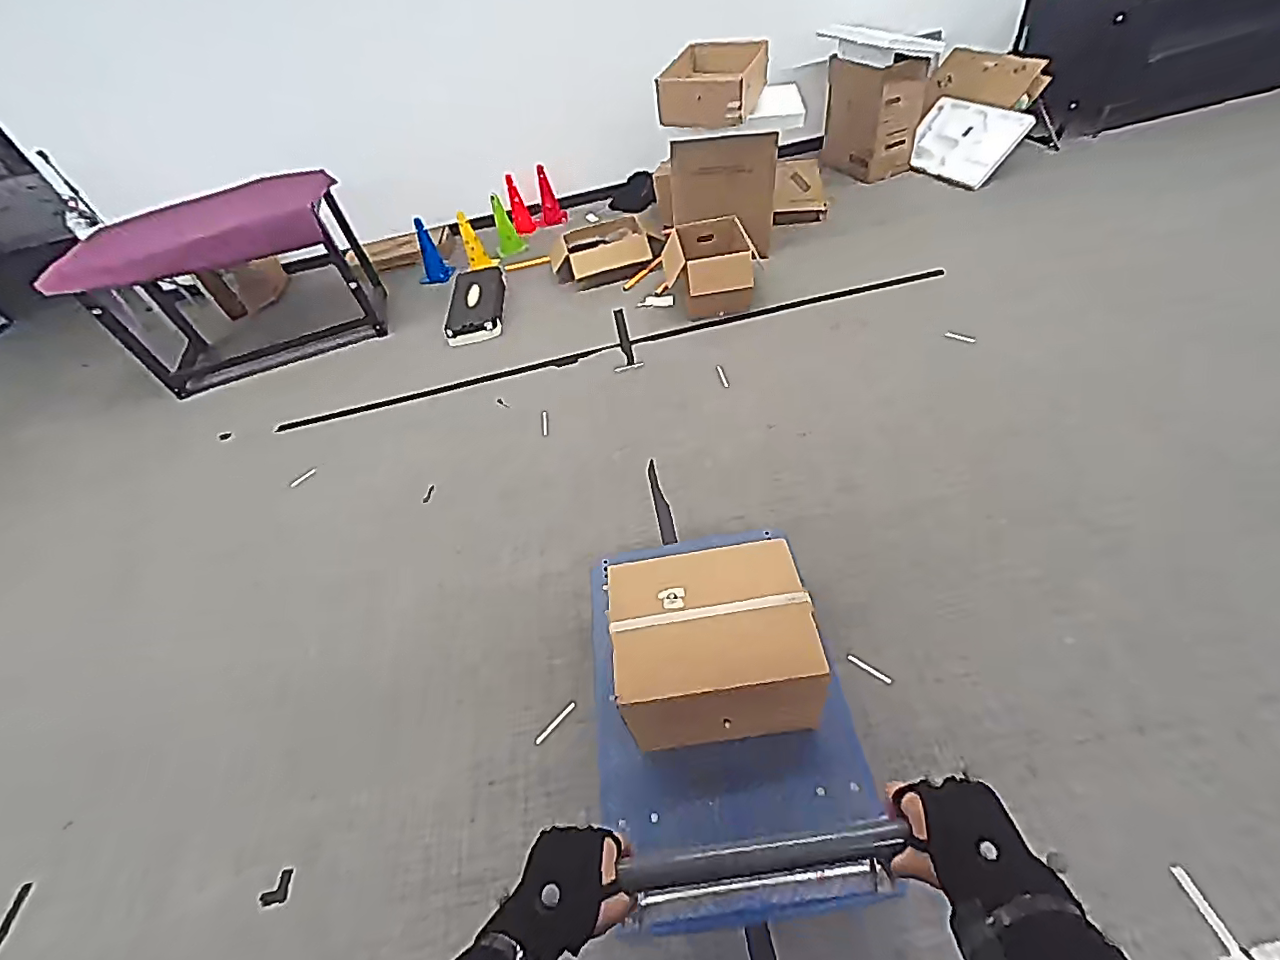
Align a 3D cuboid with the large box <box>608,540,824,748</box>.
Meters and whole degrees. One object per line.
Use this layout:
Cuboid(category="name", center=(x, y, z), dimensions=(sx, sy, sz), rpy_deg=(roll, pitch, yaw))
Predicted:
Cuboid(category="large box", center=(0.165, 0.382, 1.237), dimensions=(0.408, 0.320, 0.320), rpy_deg=(-11, 46, 3))
